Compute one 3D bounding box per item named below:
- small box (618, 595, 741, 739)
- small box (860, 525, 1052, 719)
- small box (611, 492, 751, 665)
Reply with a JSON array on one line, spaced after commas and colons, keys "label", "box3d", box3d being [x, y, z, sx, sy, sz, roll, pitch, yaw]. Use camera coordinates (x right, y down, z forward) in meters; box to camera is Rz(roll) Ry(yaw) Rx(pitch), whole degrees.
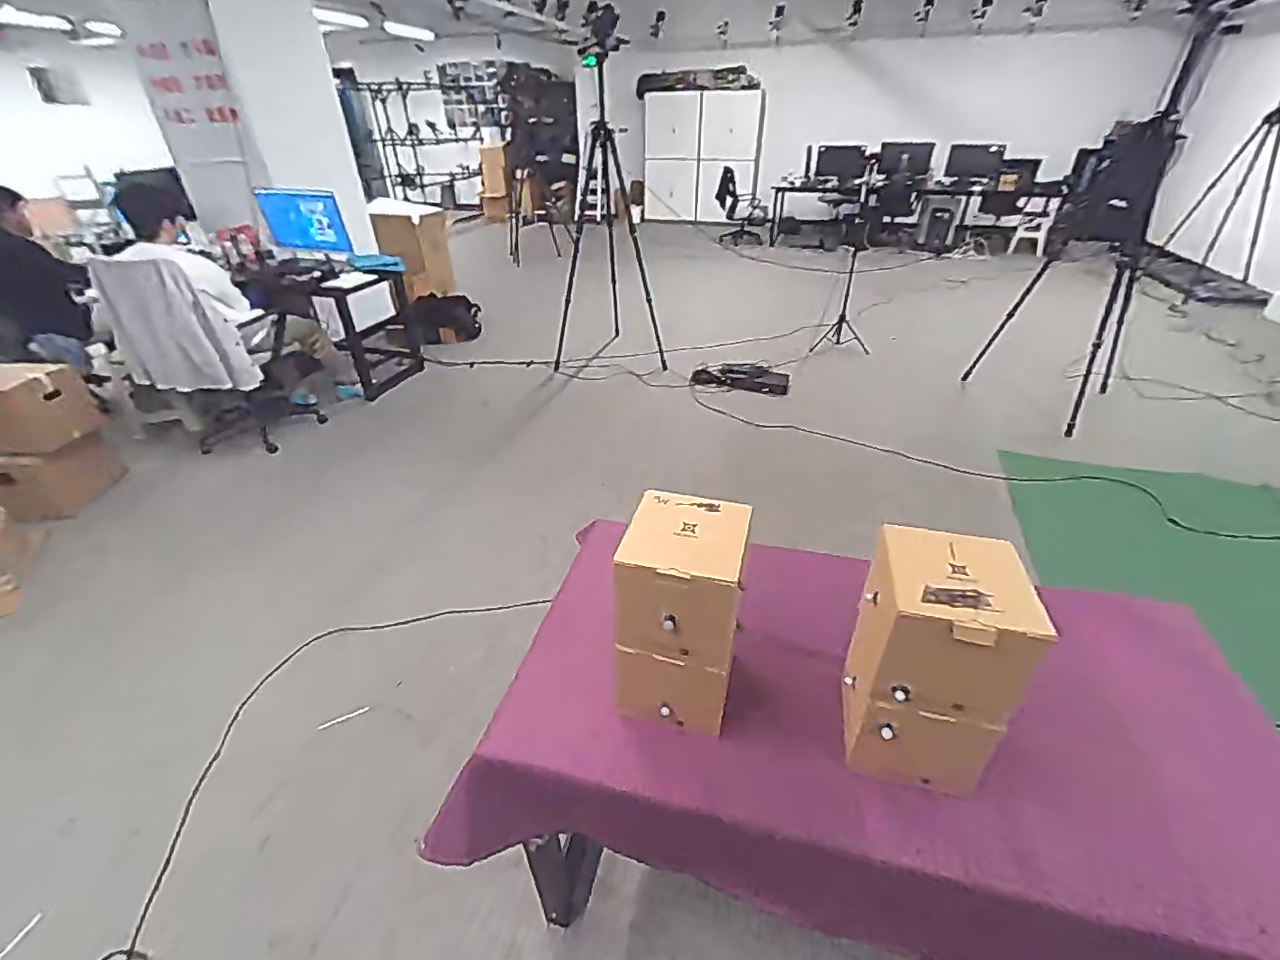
[{"label": "small box", "box3d": [0.067, 0.283, 0.886, 0.168, 0.176, 0.179, 8, 34, 14]}, {"label": "small box", "box3d": [0.401, 0.186, 0.724, 0.168, 0.176, 0.179, 7, 32, 13]}, {"label": "small box", "box3d": [0.065, 0.143, 0.799, 0.168, 0.176, 0.179, 9, 35, 13]}]
